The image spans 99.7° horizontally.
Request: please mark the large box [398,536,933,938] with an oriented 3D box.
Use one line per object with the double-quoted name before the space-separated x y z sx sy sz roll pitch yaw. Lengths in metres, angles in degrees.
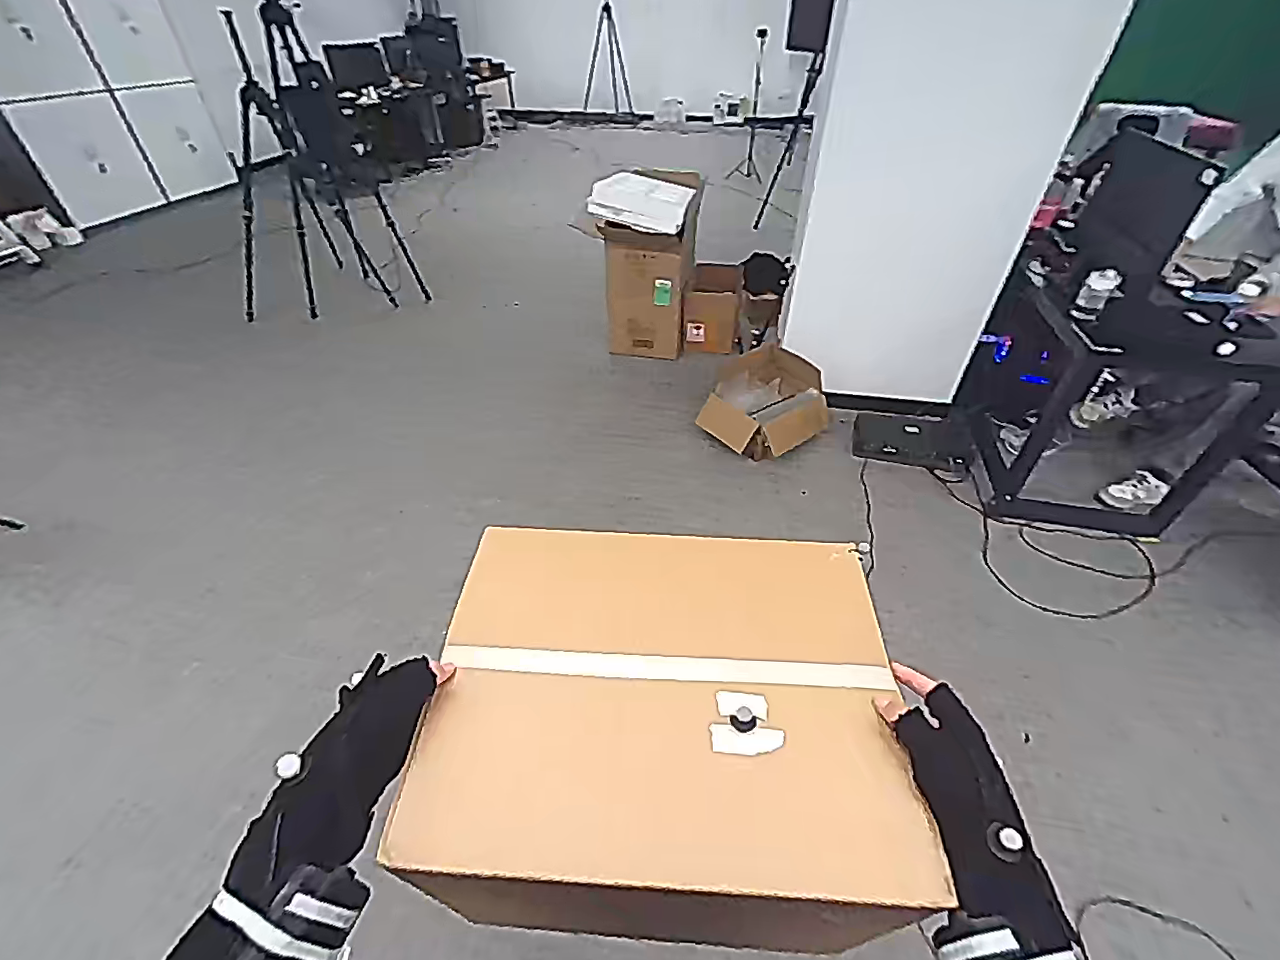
"large box" 0.020 0.283 0.603 0.408 0.320 0.320 3 45 2
